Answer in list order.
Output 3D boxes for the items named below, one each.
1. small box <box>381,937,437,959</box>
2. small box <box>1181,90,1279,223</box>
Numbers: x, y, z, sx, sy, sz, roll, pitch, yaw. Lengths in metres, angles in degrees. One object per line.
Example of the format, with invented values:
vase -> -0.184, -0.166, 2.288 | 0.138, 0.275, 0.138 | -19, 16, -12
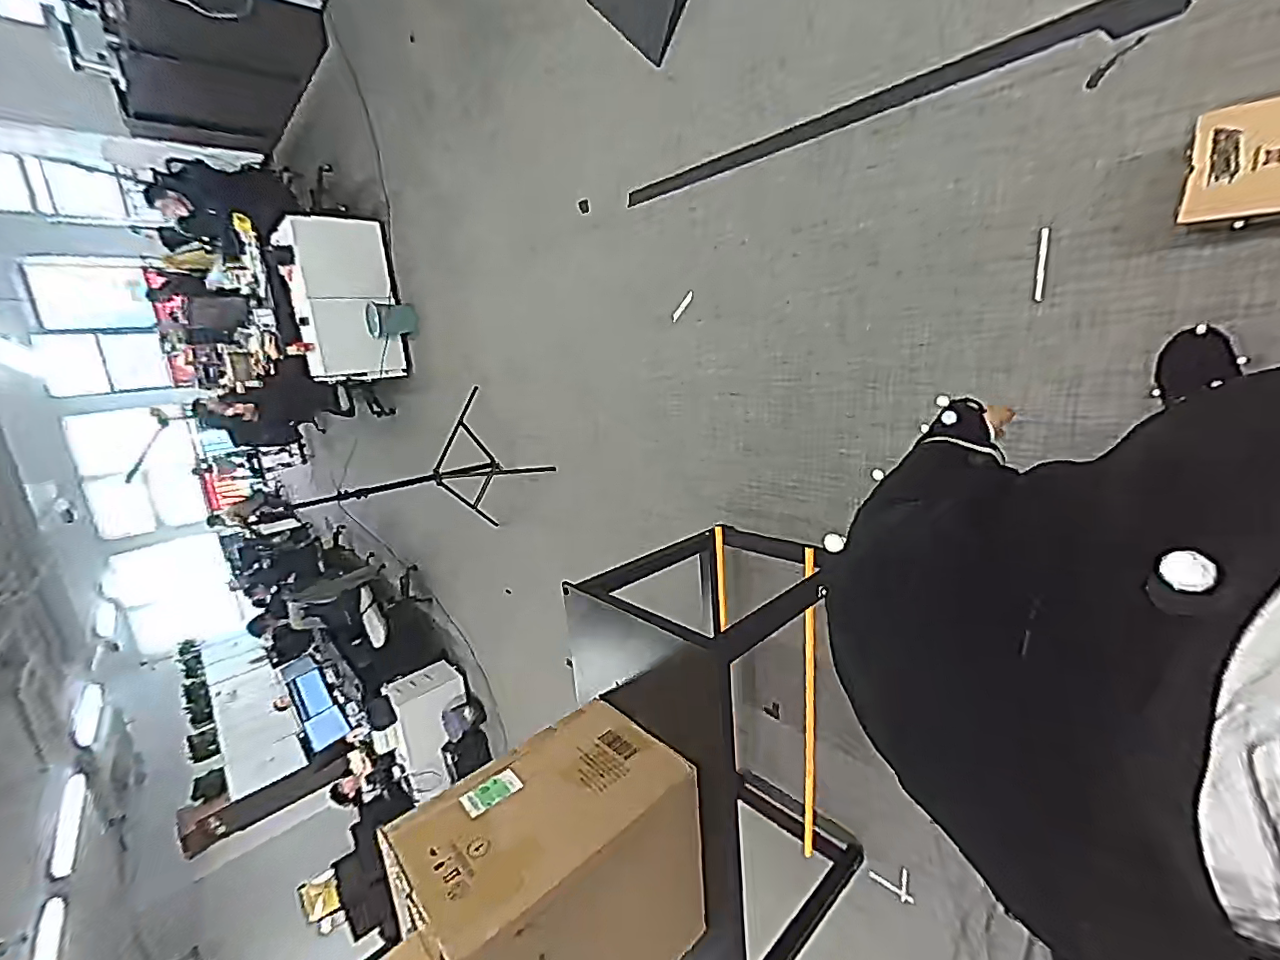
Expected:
small box -> -0.436, 1.003, 0.993 | 0.179, 0.176, 0.168 | 14, 115, 46
small box -> 1.025, -0.522, 0.877 | 0.179, 0.176, 0.168 | 14, 114, 45
